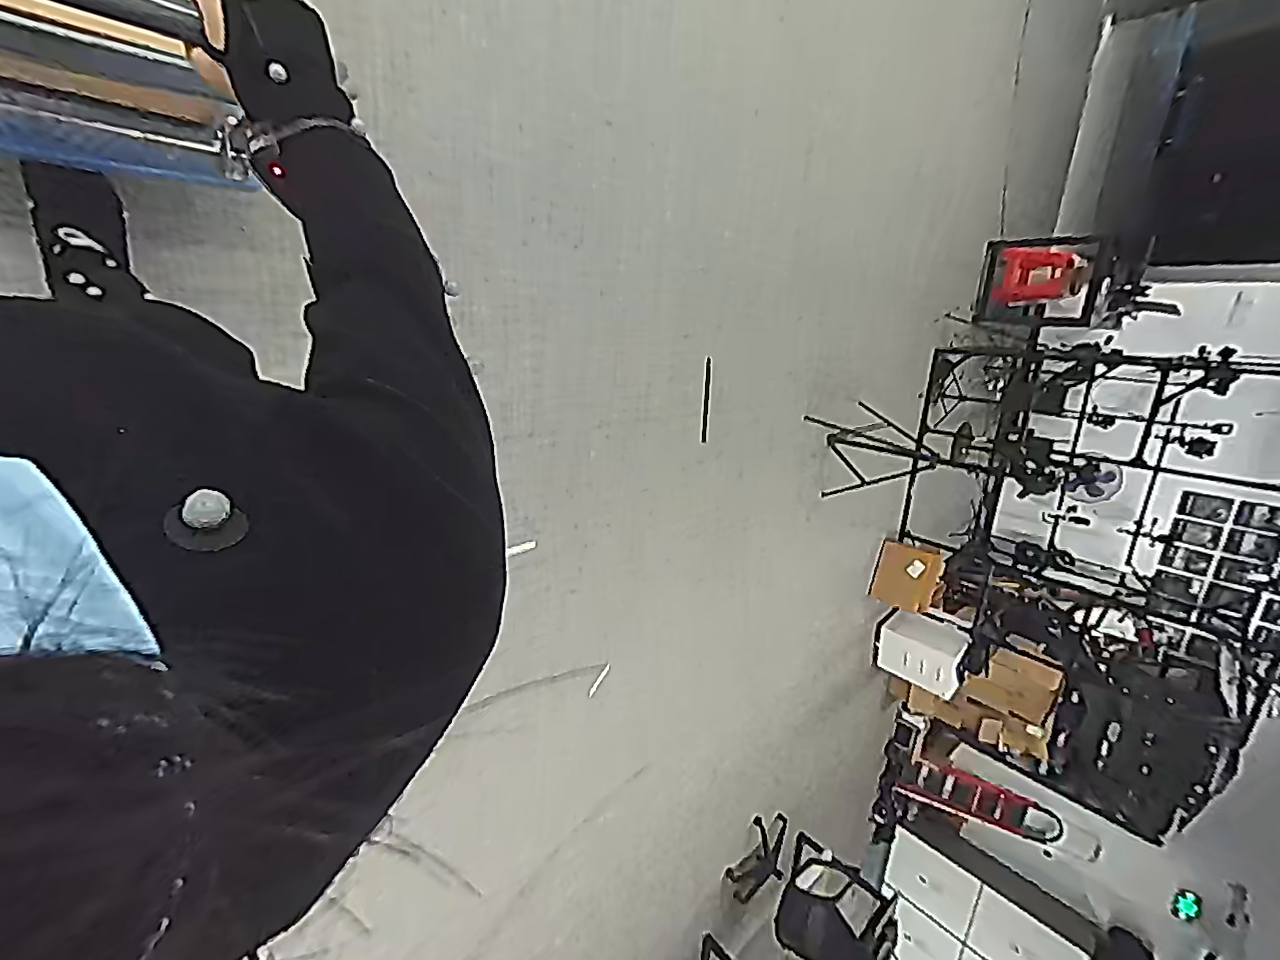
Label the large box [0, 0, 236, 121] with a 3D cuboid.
[{"bbox_3d":[-0.787,-0.696,0.658,0.408,0.320,0.320,-12,113,-43],"label":"large box"}]
